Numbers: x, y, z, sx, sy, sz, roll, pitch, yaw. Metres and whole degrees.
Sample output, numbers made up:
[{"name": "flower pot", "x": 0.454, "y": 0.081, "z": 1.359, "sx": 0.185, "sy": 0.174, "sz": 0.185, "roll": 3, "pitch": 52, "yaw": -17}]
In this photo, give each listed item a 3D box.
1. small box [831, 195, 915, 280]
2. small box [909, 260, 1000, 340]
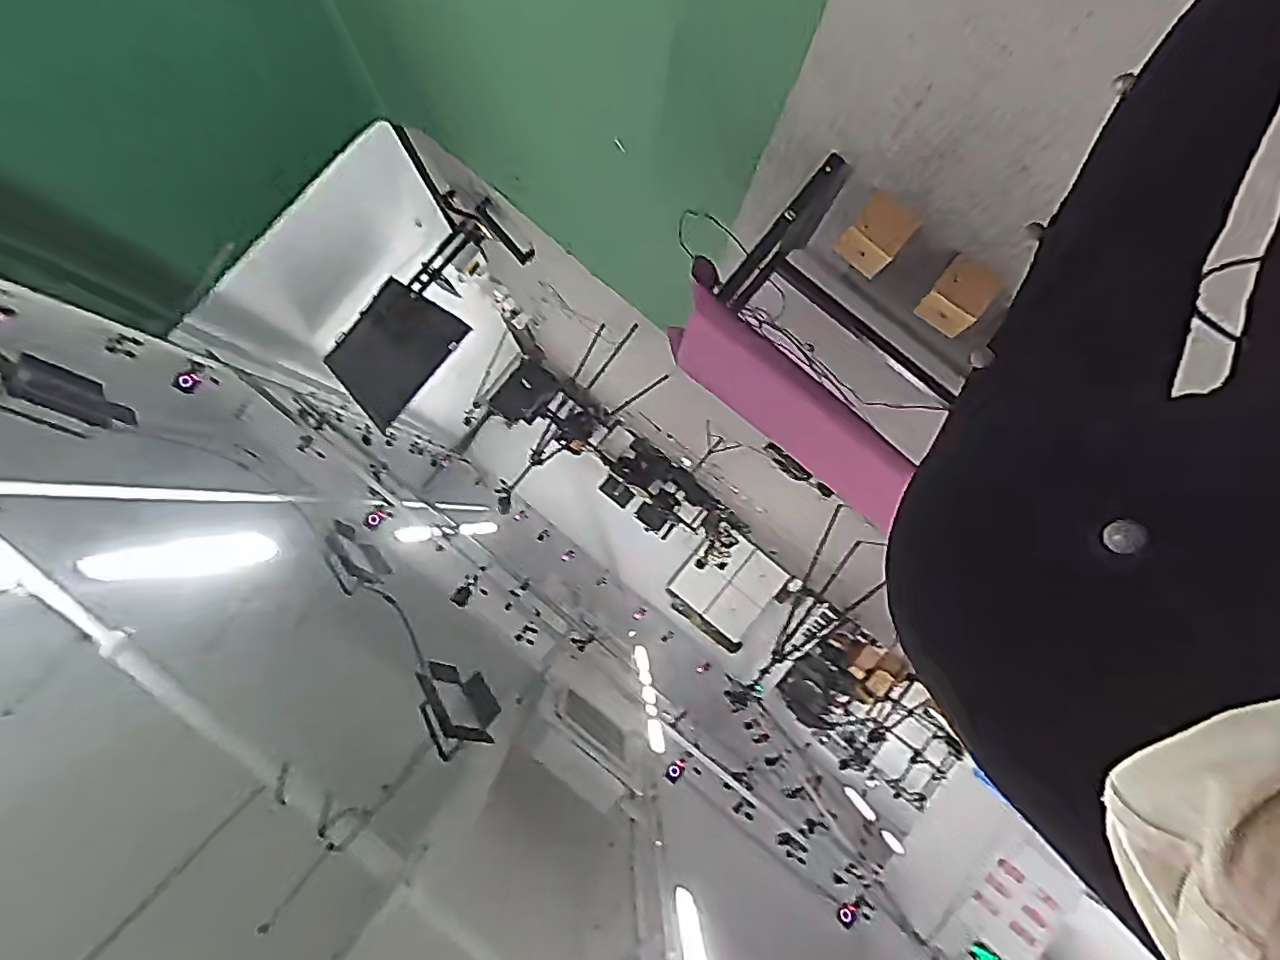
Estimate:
[{"name": "small box", "x": 0.806, "y": -0.840, "z": 1.869, "sx": 0.179, "sy": 0.176, "sz": 0.168, "roll": 40, "pitch": 175, "yaw": 0}, {"name": "small box", "x": 1.072, "y": -0.622, "z": 1.849, "sx": 0.179, "sy": 0.176, "sz": 0.168, "roll": 38, "pitch": 176, "yaw": 7}]
